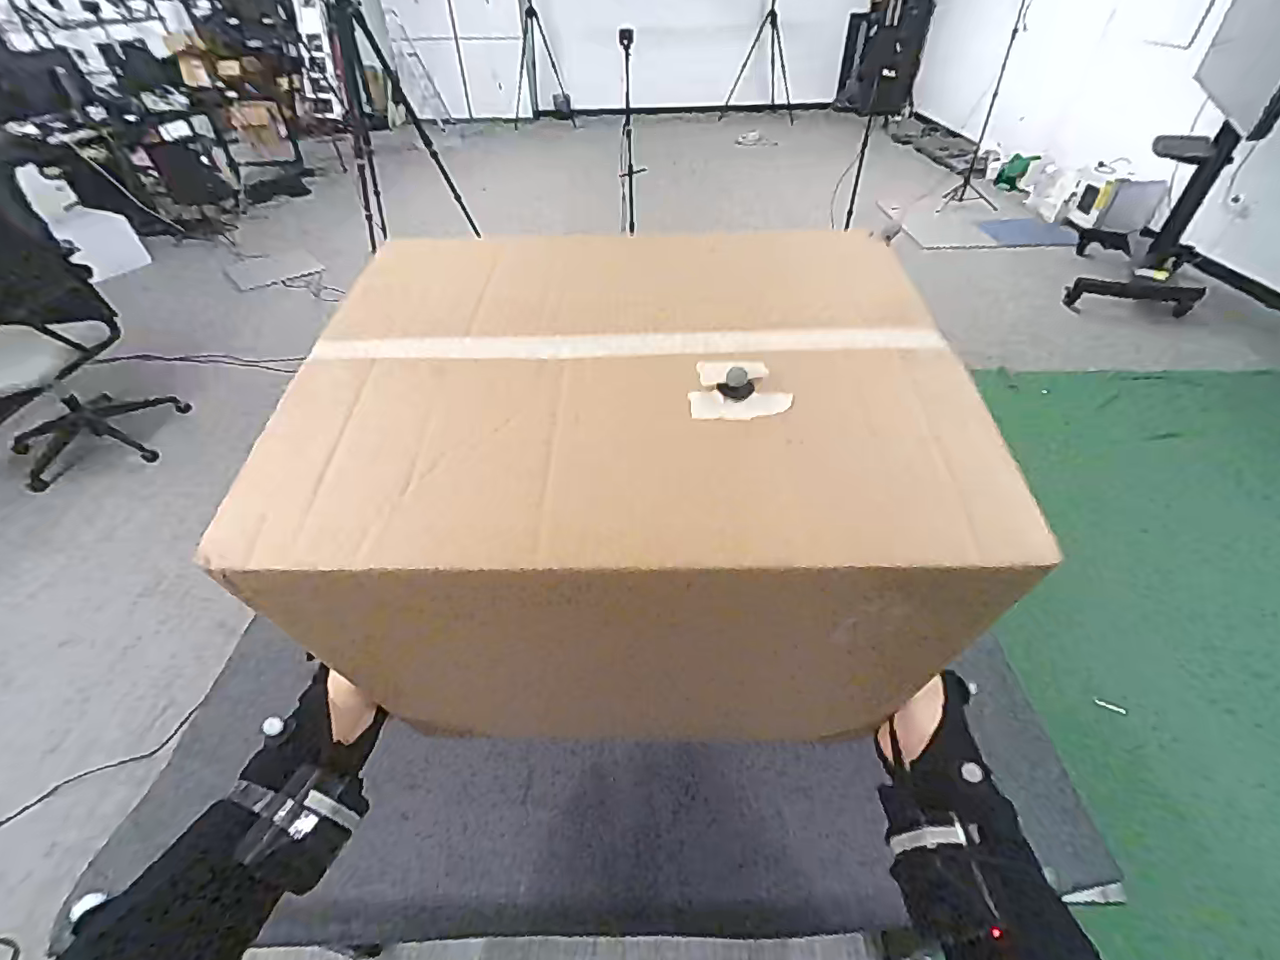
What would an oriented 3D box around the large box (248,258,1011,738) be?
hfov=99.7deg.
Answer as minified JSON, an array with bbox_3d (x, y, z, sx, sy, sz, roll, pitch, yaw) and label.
[{"bbox_3d":[-0.006,0.024,0.485,0.408,0.320,0.320,-1,51,1],"label":"large box"}]
